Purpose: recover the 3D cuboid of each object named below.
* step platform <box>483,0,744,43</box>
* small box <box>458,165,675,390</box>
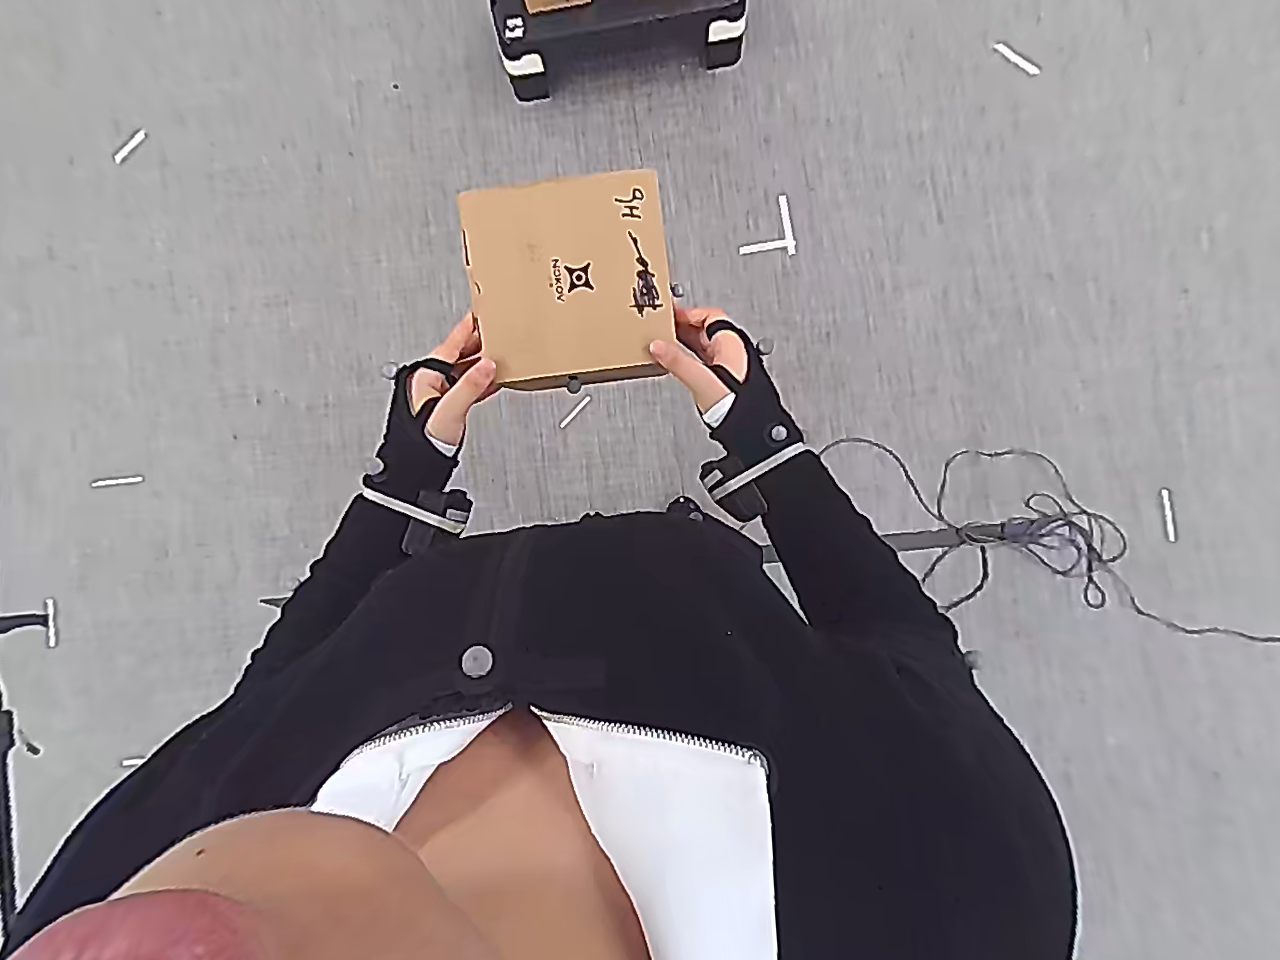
[{"bbox_3d":[-0.057,-1.275,1.267,0.684,0.204,0.286,-8,86,2],"label":"step platform"},{"bbox_3d":[-0.061,-0.185,0.546,0.179,0.176,0.168,-7,96,1],"label":"small box"}]
